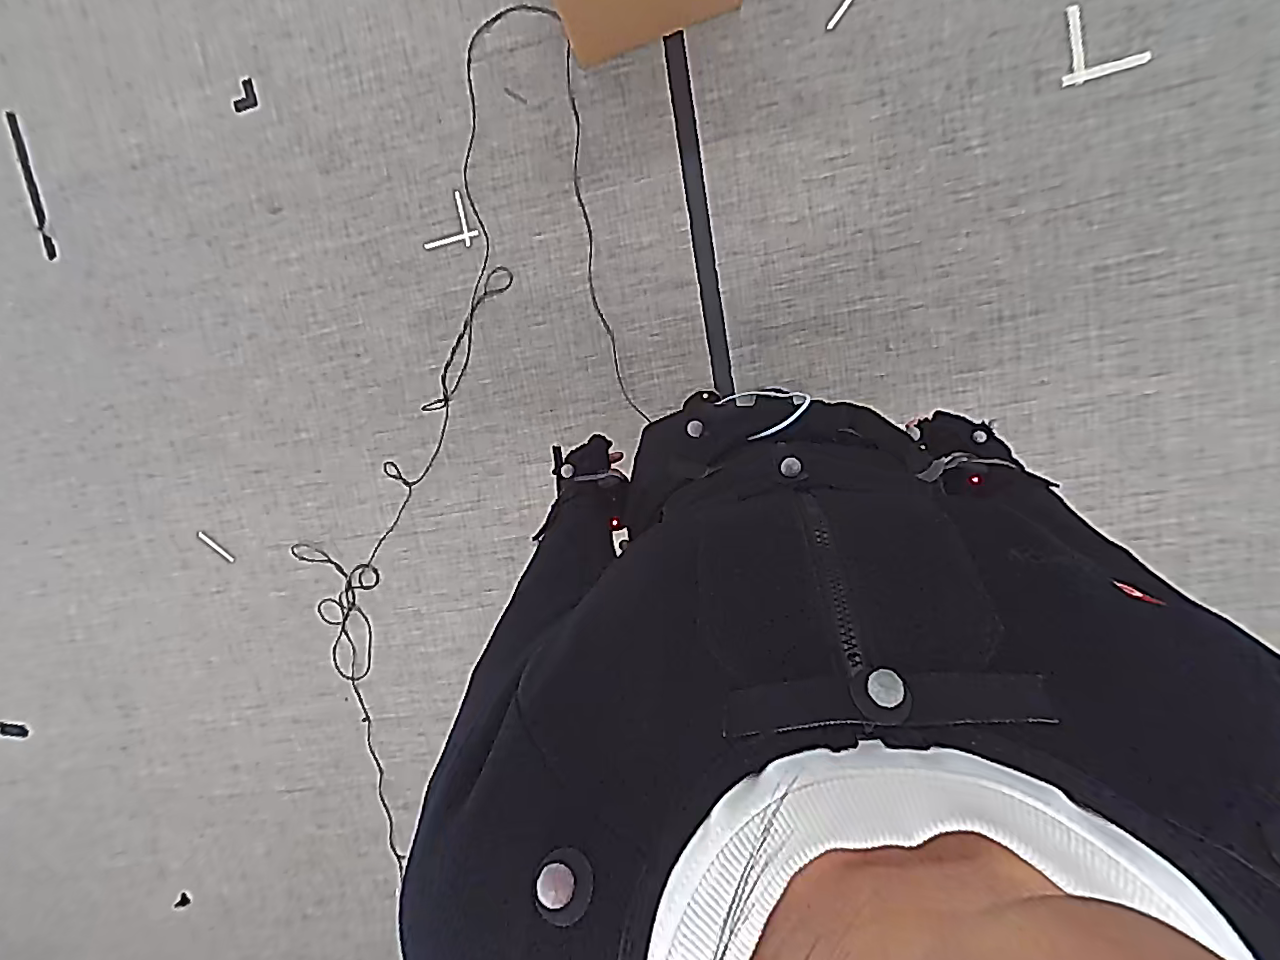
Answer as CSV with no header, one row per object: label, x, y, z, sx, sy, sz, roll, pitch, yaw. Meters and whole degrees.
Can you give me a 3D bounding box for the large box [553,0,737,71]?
large box,-0.020,-1.166,1.126,0.408,0.320,0.320,-16,99,8
